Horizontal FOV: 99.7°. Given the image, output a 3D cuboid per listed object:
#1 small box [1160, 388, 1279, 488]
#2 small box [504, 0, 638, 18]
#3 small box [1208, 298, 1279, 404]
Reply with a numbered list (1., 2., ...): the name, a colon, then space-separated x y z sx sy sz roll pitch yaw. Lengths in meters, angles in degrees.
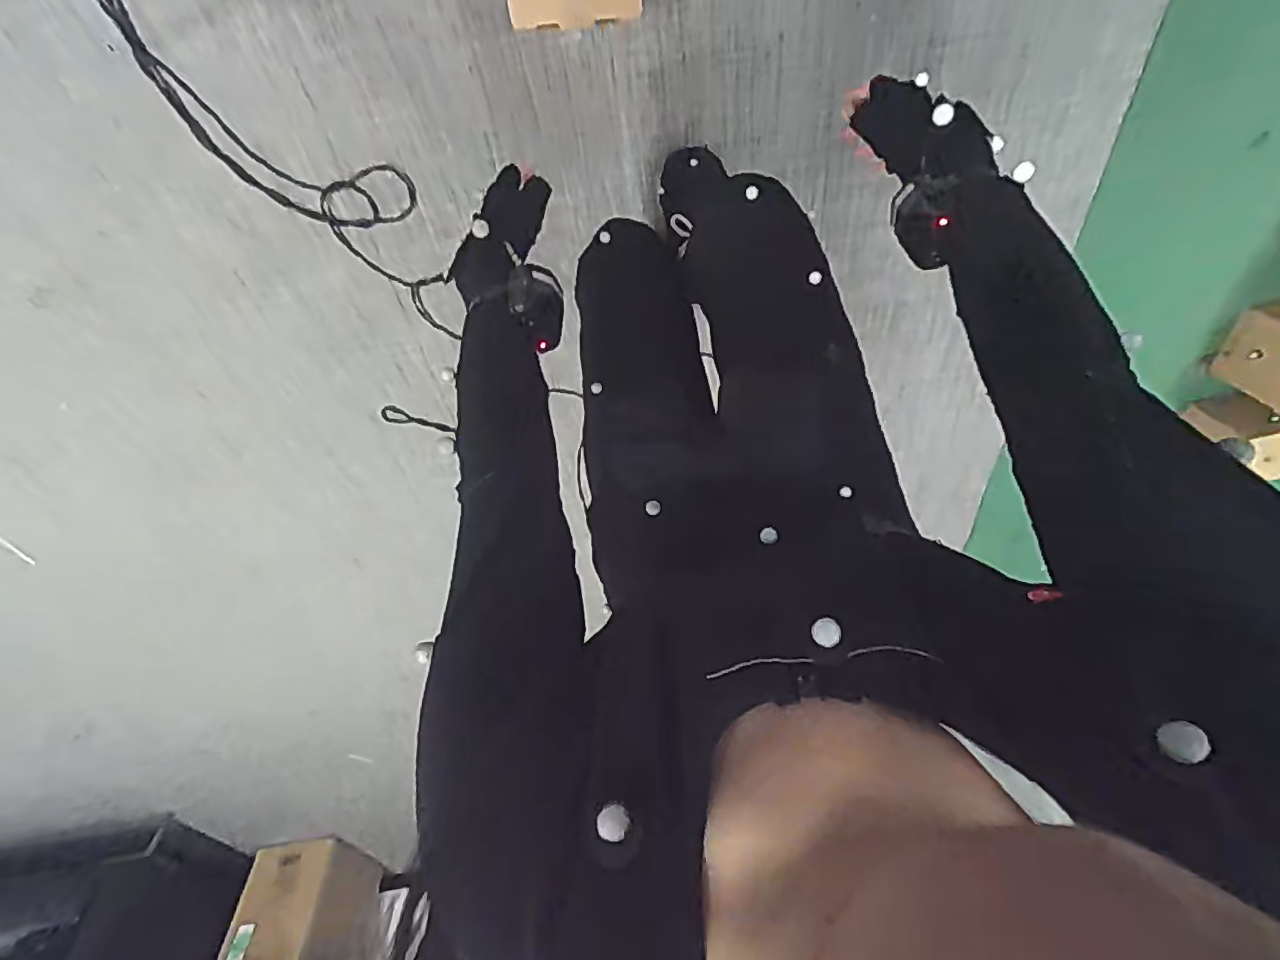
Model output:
1. small box: 1.478 -0.110 1.346 0.179 0.176 0.168 -13 131 4
2. small box: -0.091 -0.688 0.661 0.168 0.176 0.179 -6 131 -1
3. small box: 1.433 -0.292 1.185 0.179 0.176 0.168 -11 131 2
